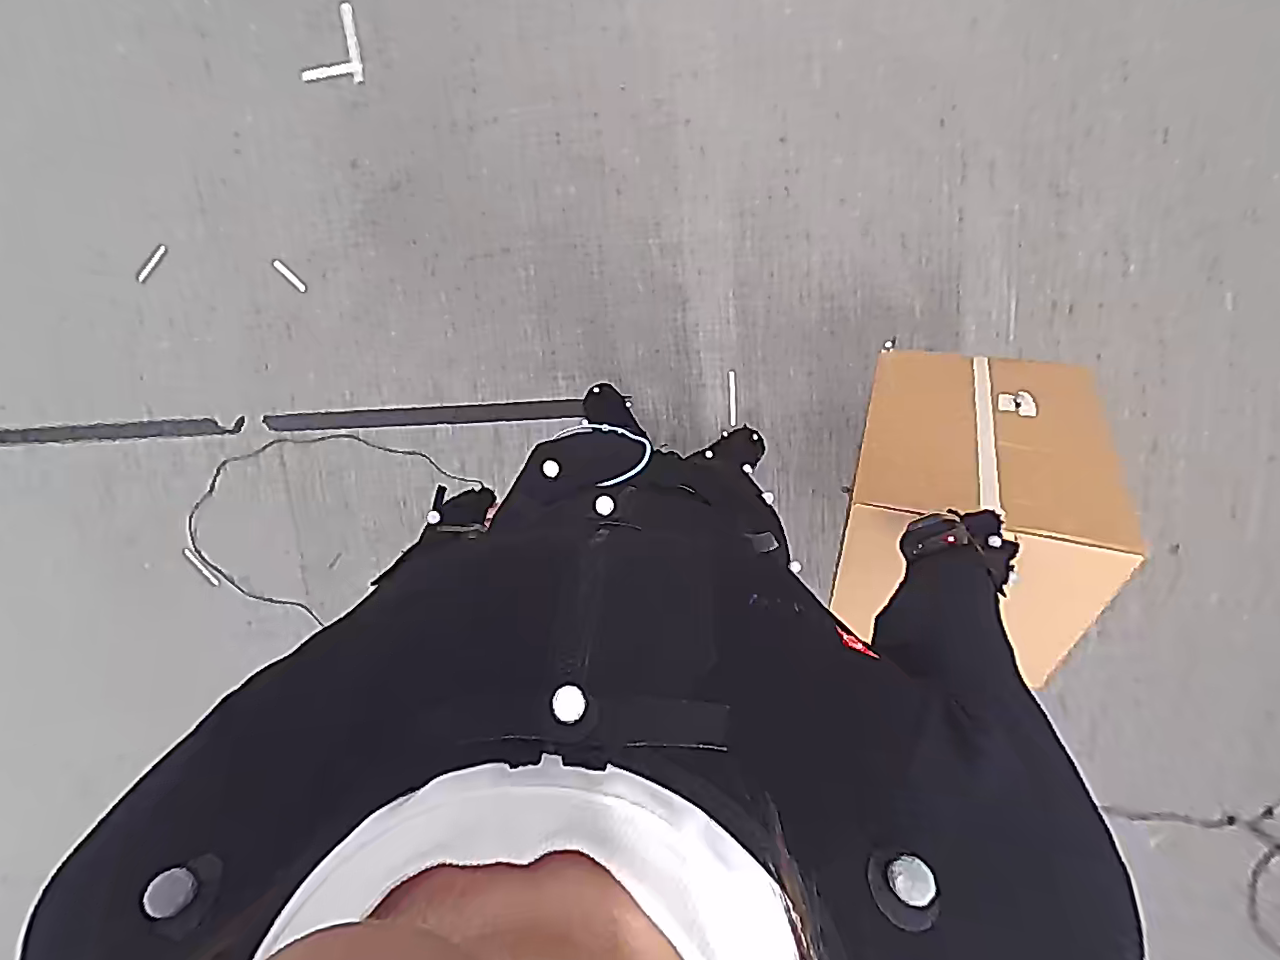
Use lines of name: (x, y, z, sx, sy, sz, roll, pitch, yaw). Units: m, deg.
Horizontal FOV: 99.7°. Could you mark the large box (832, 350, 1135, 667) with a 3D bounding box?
large box: (0.513, 0.028, 0.898, 0.320, 0.408, 0.320, 11, 135, 19)
